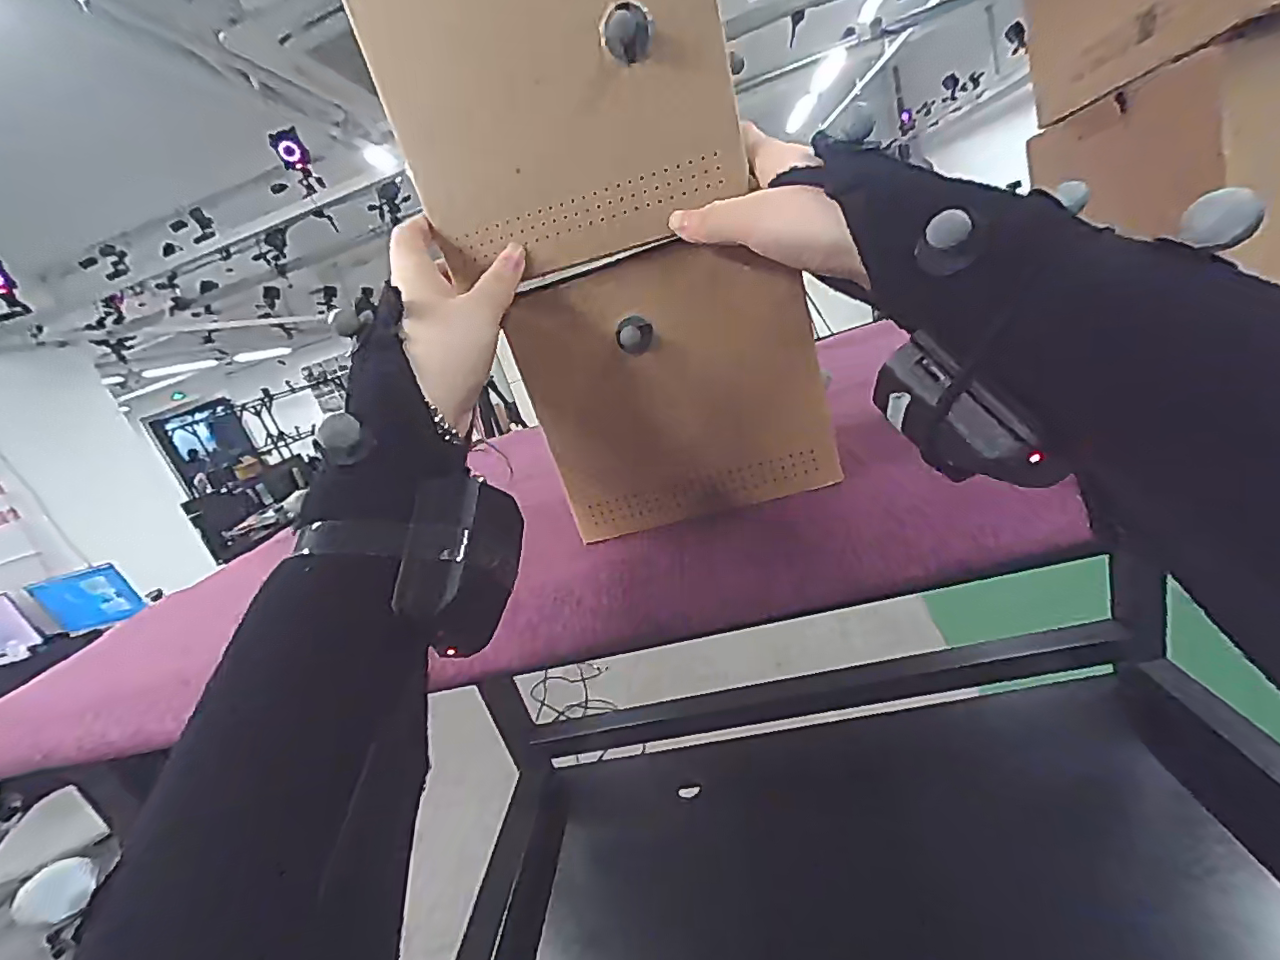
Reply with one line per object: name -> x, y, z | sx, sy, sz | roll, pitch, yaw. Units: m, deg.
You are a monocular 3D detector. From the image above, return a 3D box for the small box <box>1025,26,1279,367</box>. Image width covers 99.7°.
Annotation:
small box -> 0.390, -0.180, 0.340 | 0.179, 0.176, 0.168 | -16, 16, 12

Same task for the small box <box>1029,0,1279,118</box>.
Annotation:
small box -> 0.339, -0.325, 0.285 | 0.179, 0.176, 0.168 | -15, 15, 11

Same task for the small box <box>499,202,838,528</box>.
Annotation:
small box -> 0.029, -0.080, 0.402 | 0.179, 0.176, 0.168 | -14, 19, 12

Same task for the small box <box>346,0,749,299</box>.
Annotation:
small box -> -0.032, -0.225, 0.332 | 0.179, 0.176, 0.168 | -11, 23, 13
